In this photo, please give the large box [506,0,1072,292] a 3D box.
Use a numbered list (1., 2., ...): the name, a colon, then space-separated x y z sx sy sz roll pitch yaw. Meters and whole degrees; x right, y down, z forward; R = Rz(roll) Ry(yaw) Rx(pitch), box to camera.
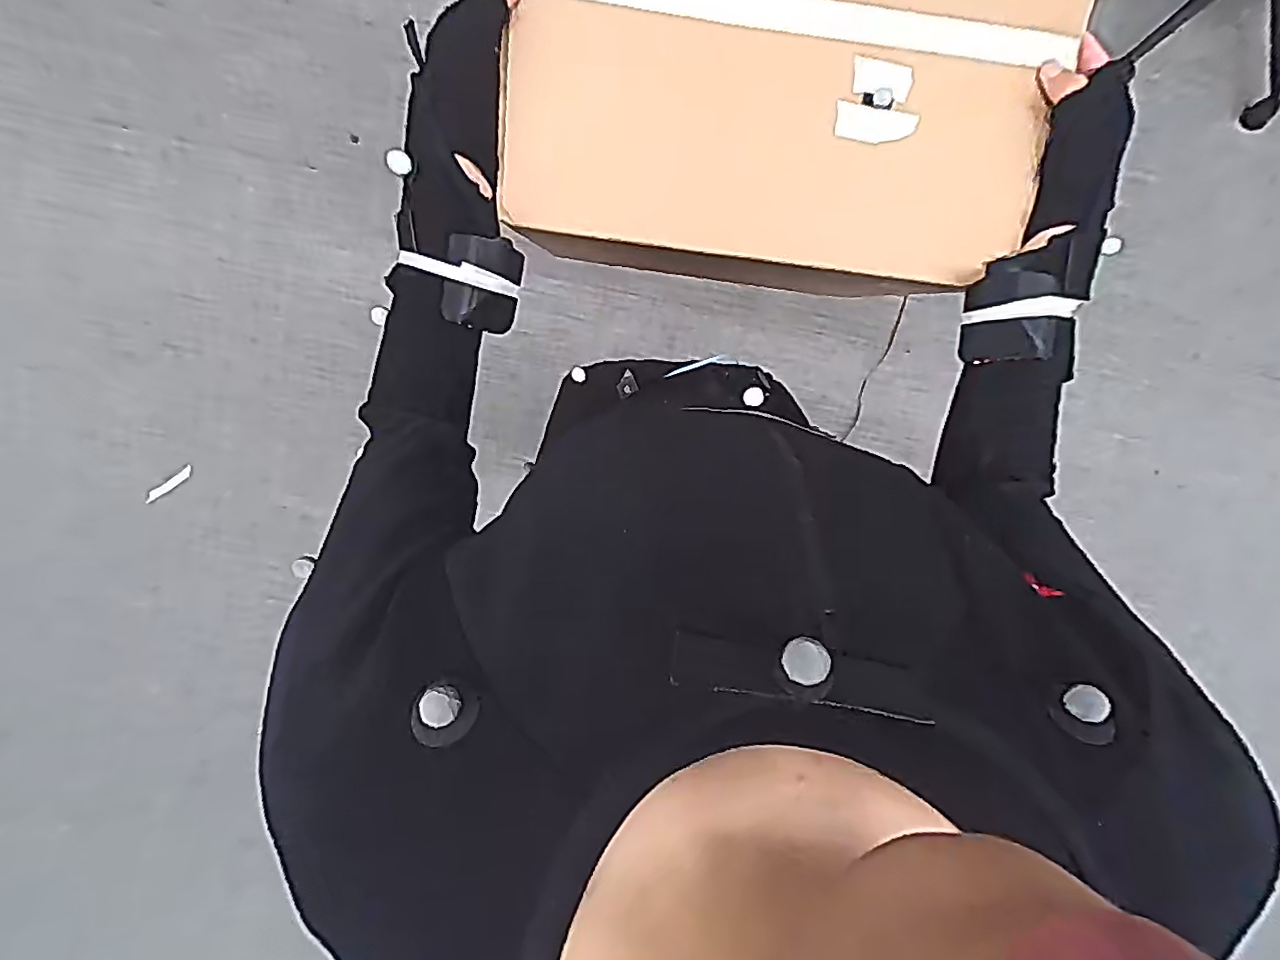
1. large box: 0.101 -0.371 0.530 0.408 0.320 0.320 7 109 -4
